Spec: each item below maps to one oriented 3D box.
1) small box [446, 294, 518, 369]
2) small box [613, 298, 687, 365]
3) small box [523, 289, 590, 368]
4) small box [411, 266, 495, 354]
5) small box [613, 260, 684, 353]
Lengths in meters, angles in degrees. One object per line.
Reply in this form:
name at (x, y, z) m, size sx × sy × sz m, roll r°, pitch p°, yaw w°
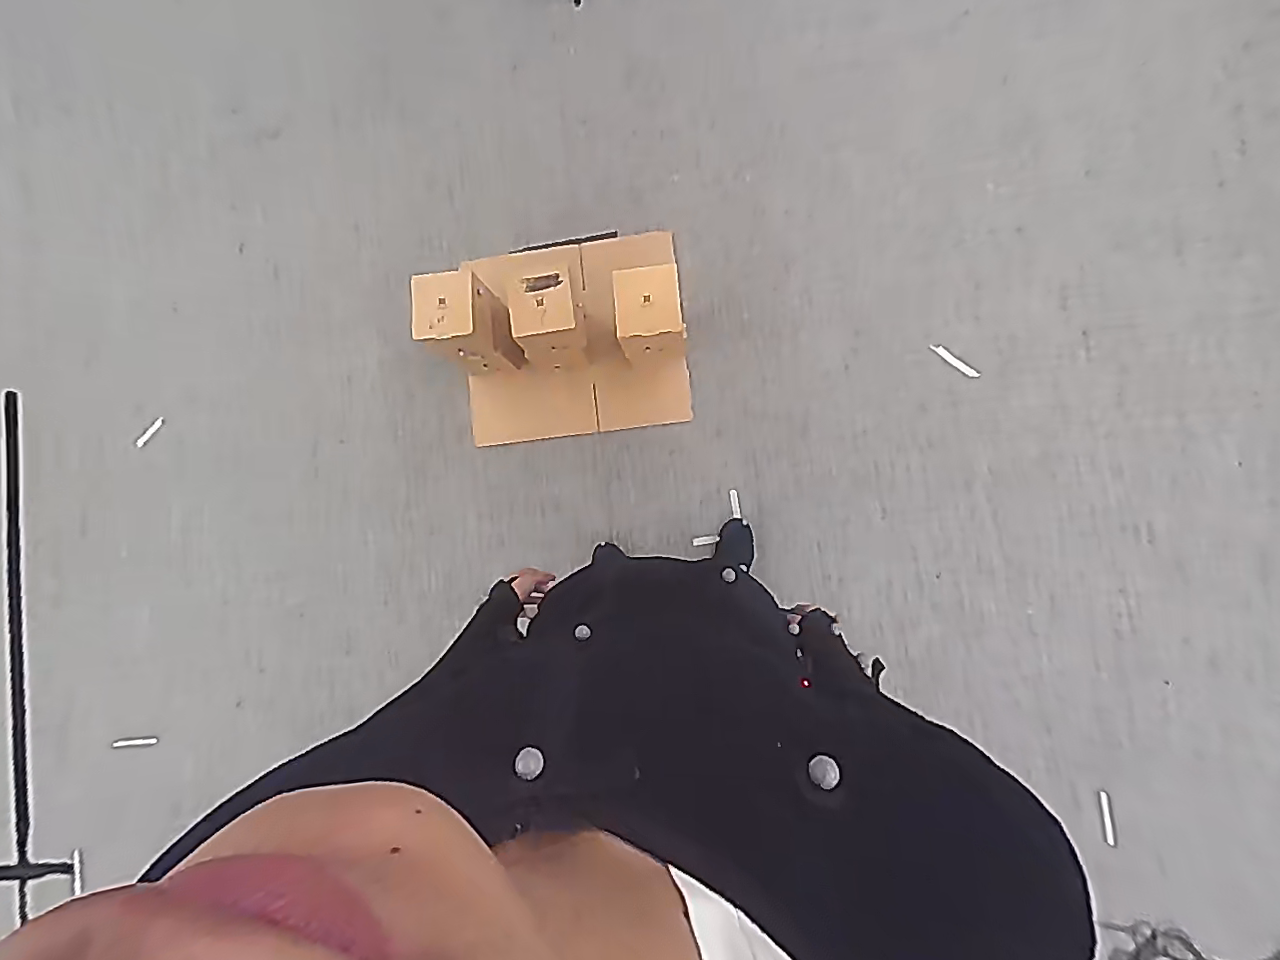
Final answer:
small box at (-0.474, -0.438, 1.624) m, size 0.168 × 0.176 × 0.179 m, roll -4°, pitch 87°, yaw 6°
small box at (0.034, -0.449, 1.578) m, size 0.179 × 0.176 × 0.168 m, roll -15°, pitch 86°, yaw 4°
small box at (-0.244, -0.444, 1.603) m, size 0.168 × 0.176 × 0.179 m, roll -3°, pitch 86°, yaw 5°
small box at (-0.500, -0.454, 1.462) m, size 0.168 × 0.176 × 0.179 m, roll -3°, pitch 87°, yaw 6°
small box at (0.025, -0.447, 1.415) m, size 0.168 × 0.176 × 0.179 m, roll -5°, pitch 87°, yaw 5°
